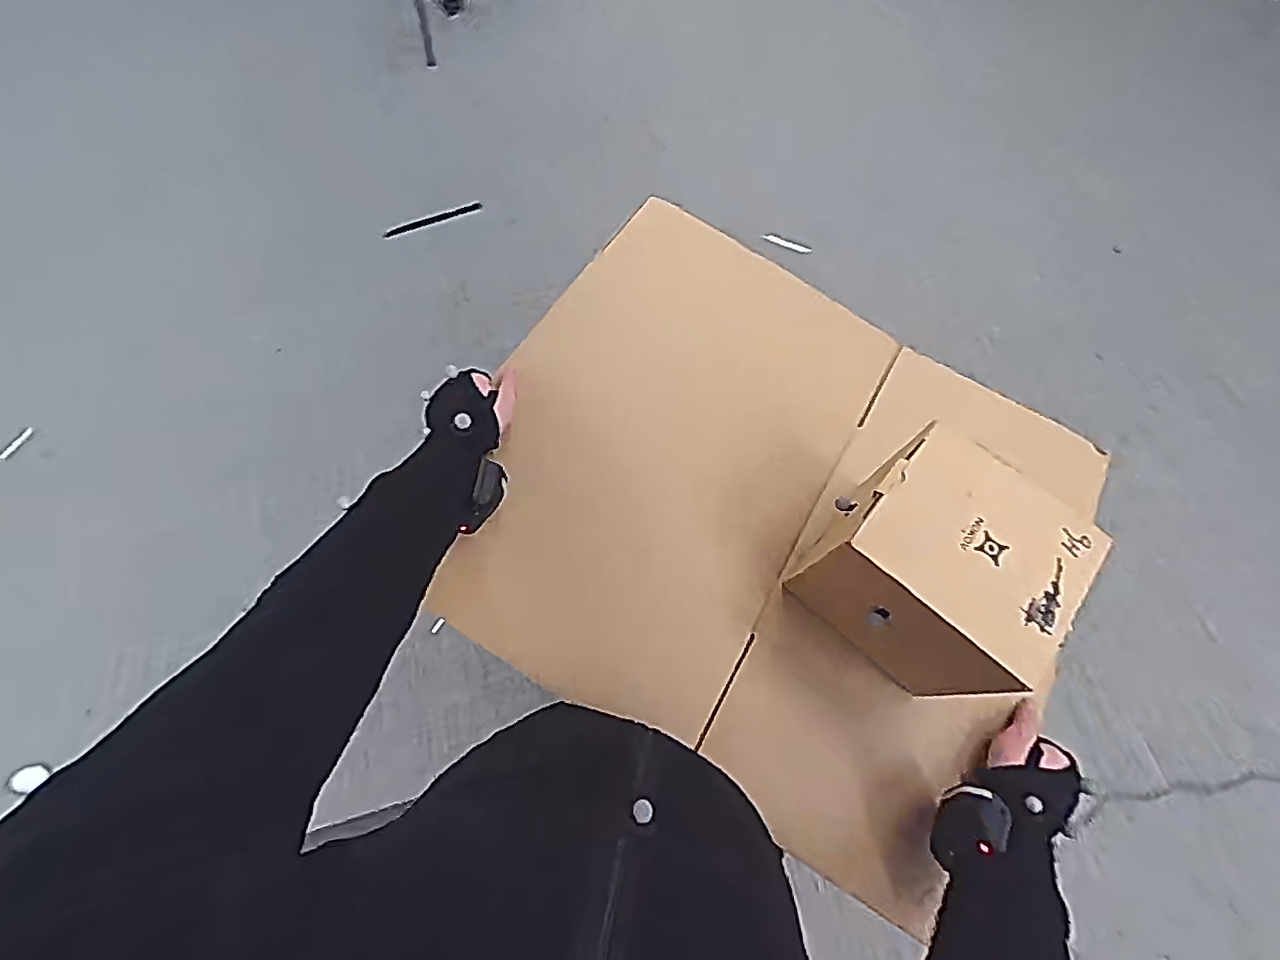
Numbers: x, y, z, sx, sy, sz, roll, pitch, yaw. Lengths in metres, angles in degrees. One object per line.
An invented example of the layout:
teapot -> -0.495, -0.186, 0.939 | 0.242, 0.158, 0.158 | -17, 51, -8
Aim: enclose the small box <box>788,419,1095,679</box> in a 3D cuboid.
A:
small box -> 0.278, 0.079, 0.539 | 0.179, 0.176, 0.168 | 39, 70, 13
